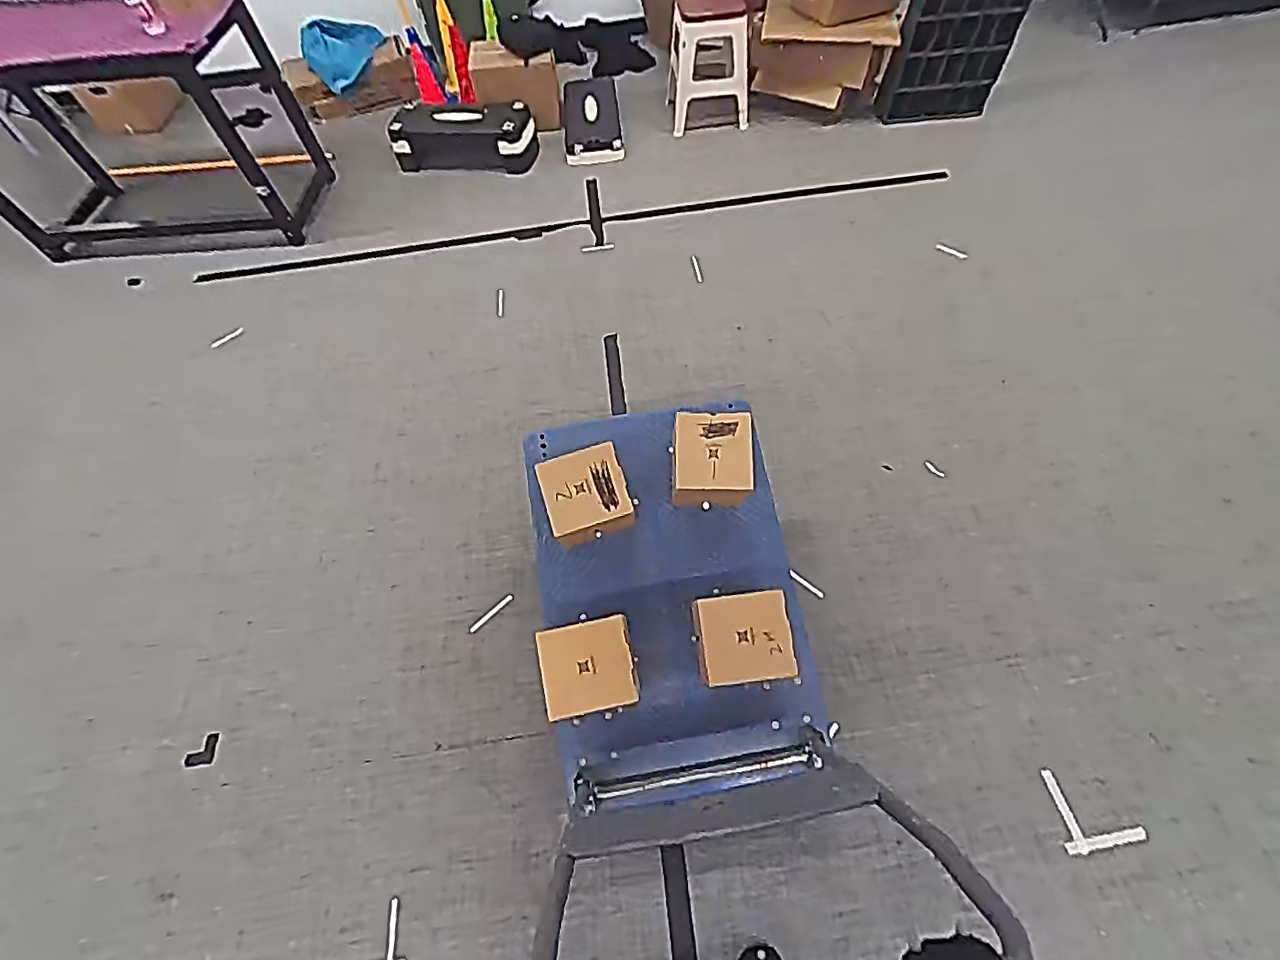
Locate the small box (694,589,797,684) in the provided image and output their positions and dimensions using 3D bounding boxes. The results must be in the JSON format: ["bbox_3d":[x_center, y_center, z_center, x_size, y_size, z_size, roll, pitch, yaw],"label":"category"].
[{"bbox_3d":[0.209,0.324,1.127,0.179,0.176,0.168,-7,75,-1],"label":"small box"}]

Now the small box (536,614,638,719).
[{"bbox_3d":[-0.103,0.380,1.115,0.179,0.176,0.168,-12,74,-4],"label":"small box"}]

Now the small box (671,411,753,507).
[{"bbox_3d":[0.158,-0.044,1.230,0.168,0.176,0.179,1,75,1],"label":"small box"}]
